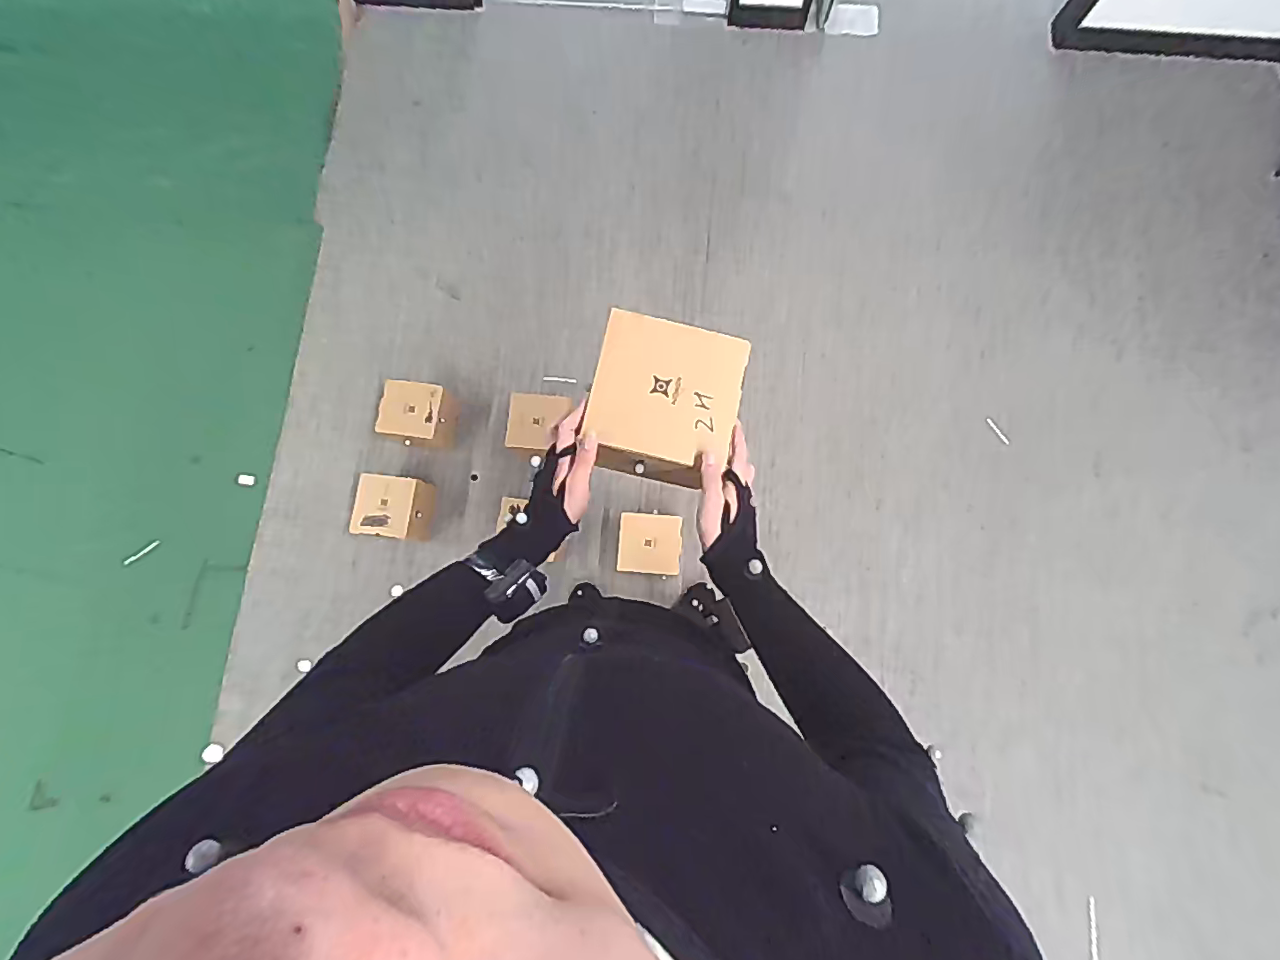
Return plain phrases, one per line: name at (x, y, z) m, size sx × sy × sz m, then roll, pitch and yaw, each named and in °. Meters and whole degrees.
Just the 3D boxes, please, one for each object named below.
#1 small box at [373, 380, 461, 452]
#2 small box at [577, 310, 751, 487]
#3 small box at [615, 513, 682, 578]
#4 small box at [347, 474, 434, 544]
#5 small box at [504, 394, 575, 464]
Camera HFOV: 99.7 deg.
small box at (-0.672, -0.189, 1.645) m, size 0.179 × 0.176 × 0.168 m, roll 8°, pitch 80°, yaw 2°
small box at (0.024, -0.092, 0.703) m, size 0.179 × 0.176 × 0.168 m, roll 14°, pitch 82°, yaw -3°
small box at (0.024, 0.195, 1.575) m, size 0.179 × 0.176 × 0.168 m, roll 4°, pitch 79°, yaw 0°
small box at (-0.726, 0.090, 1.593) m, size 0.168 × 0.176 × 0.179 m, roll 7°, pitch 79°, yaw 1°
small box at (-0.297, -0.149, 1.637) m, size 0.179 × 0.176 × 0.168 m, roll 5°, pitch 79°, yaw 1°
